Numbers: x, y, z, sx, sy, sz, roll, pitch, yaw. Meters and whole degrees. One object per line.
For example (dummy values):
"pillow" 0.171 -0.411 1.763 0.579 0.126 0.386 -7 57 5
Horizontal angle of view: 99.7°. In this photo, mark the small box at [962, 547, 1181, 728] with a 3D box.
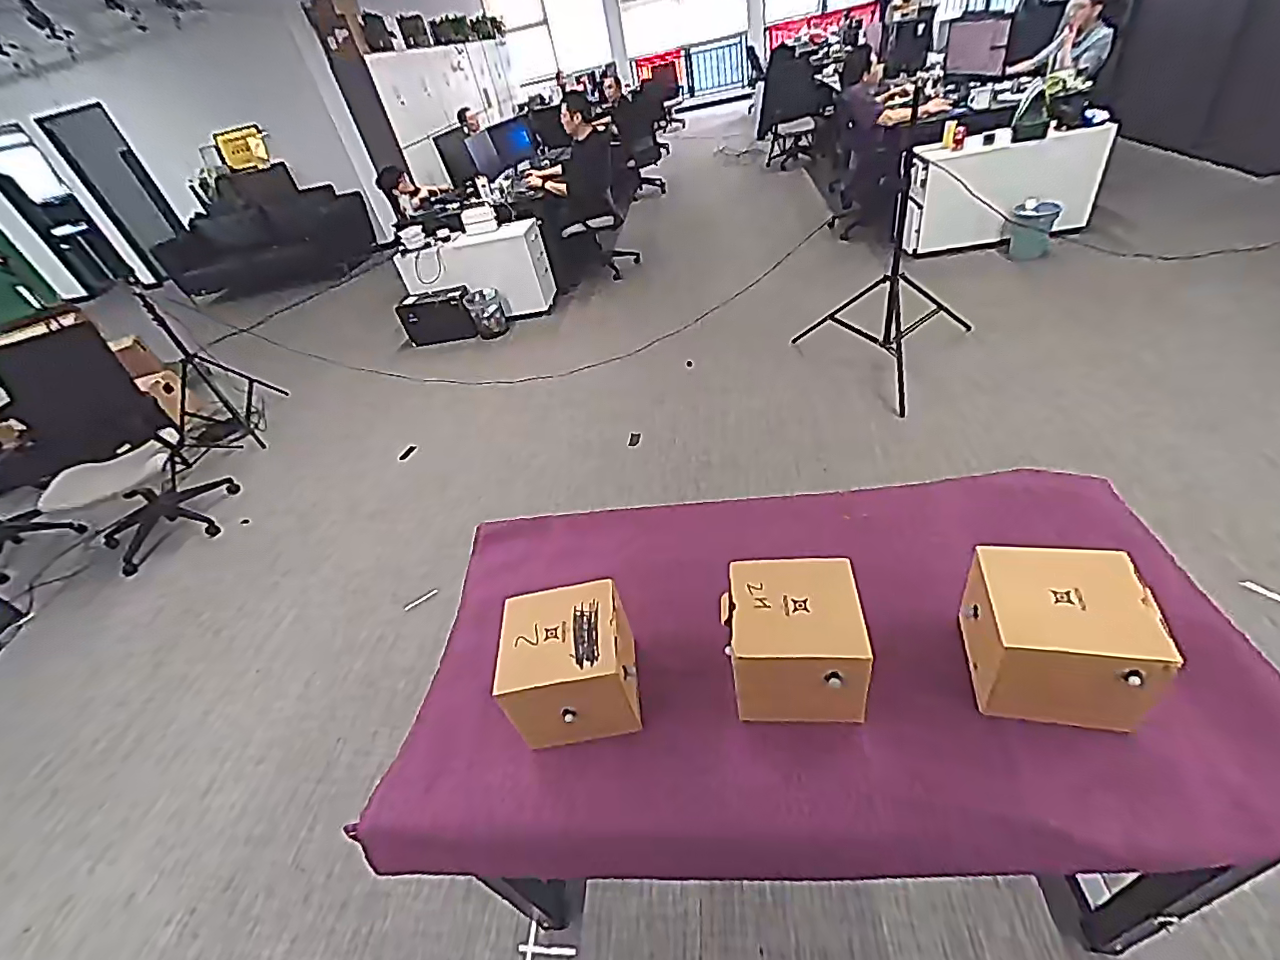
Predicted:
"small box" 0.551 0.210 0.727 0.179 0.176 0.168 0 41 18

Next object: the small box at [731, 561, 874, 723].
"small box" 0.228 0.238 0.793 0.179 0.176 0.168 -5 39 12
